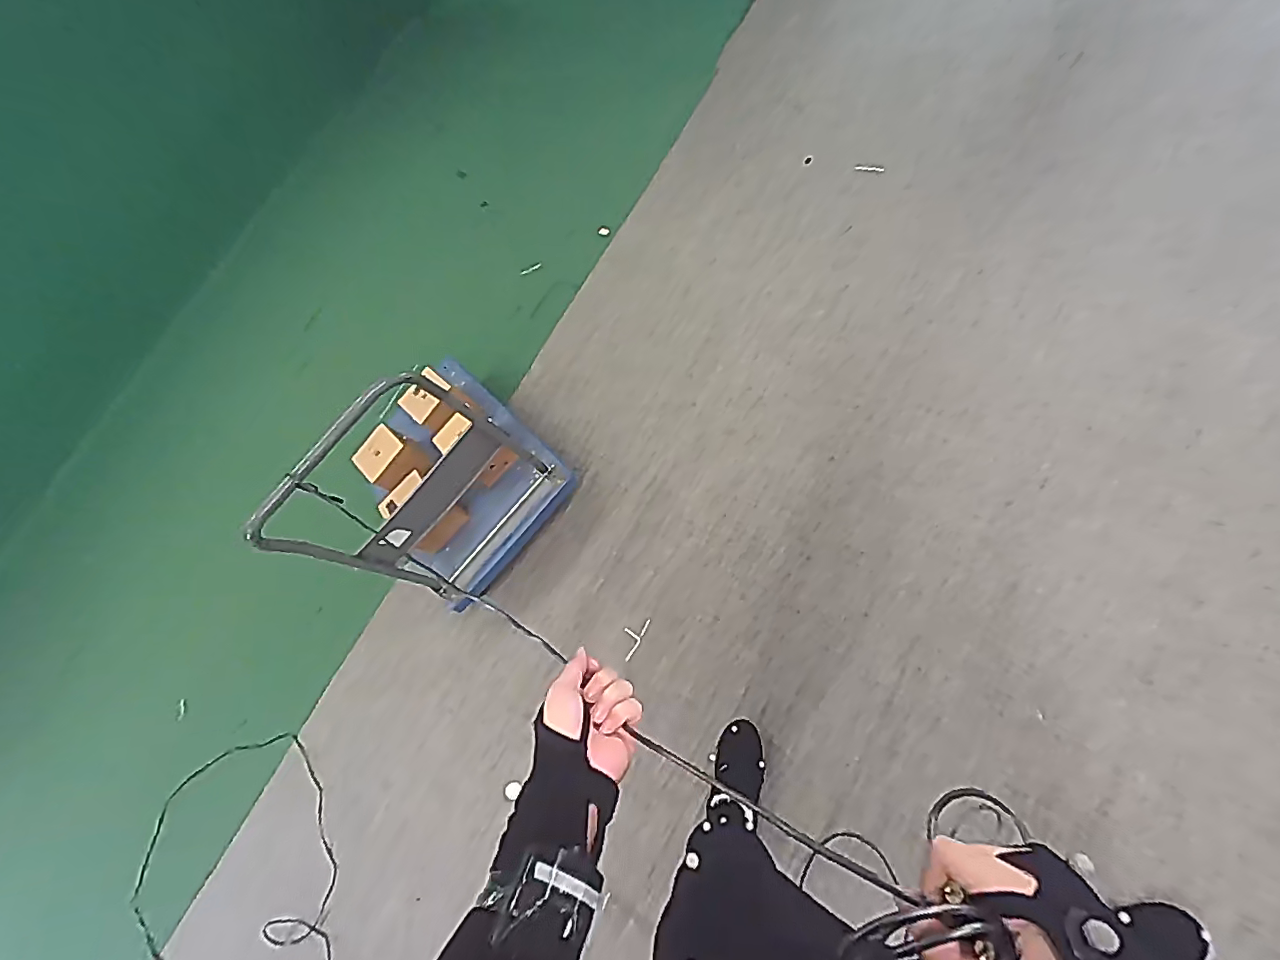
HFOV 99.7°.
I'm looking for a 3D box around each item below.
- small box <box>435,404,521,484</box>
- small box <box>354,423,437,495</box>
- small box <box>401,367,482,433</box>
[{"bbox_3d":[-0.527,-0.112,1.769,0.168,0.176,0.179,-48,58,0],"label":"small box"},{"bbox_3d":[-0.854,-0.066,1.903,0.179,0.176,0.168,37,87,33],"label":"small box"},{"bbox_3d":[-0.699,-0.263,1.913,0.179,0.176,0.168,37,88,32],"label":"small box"}]
